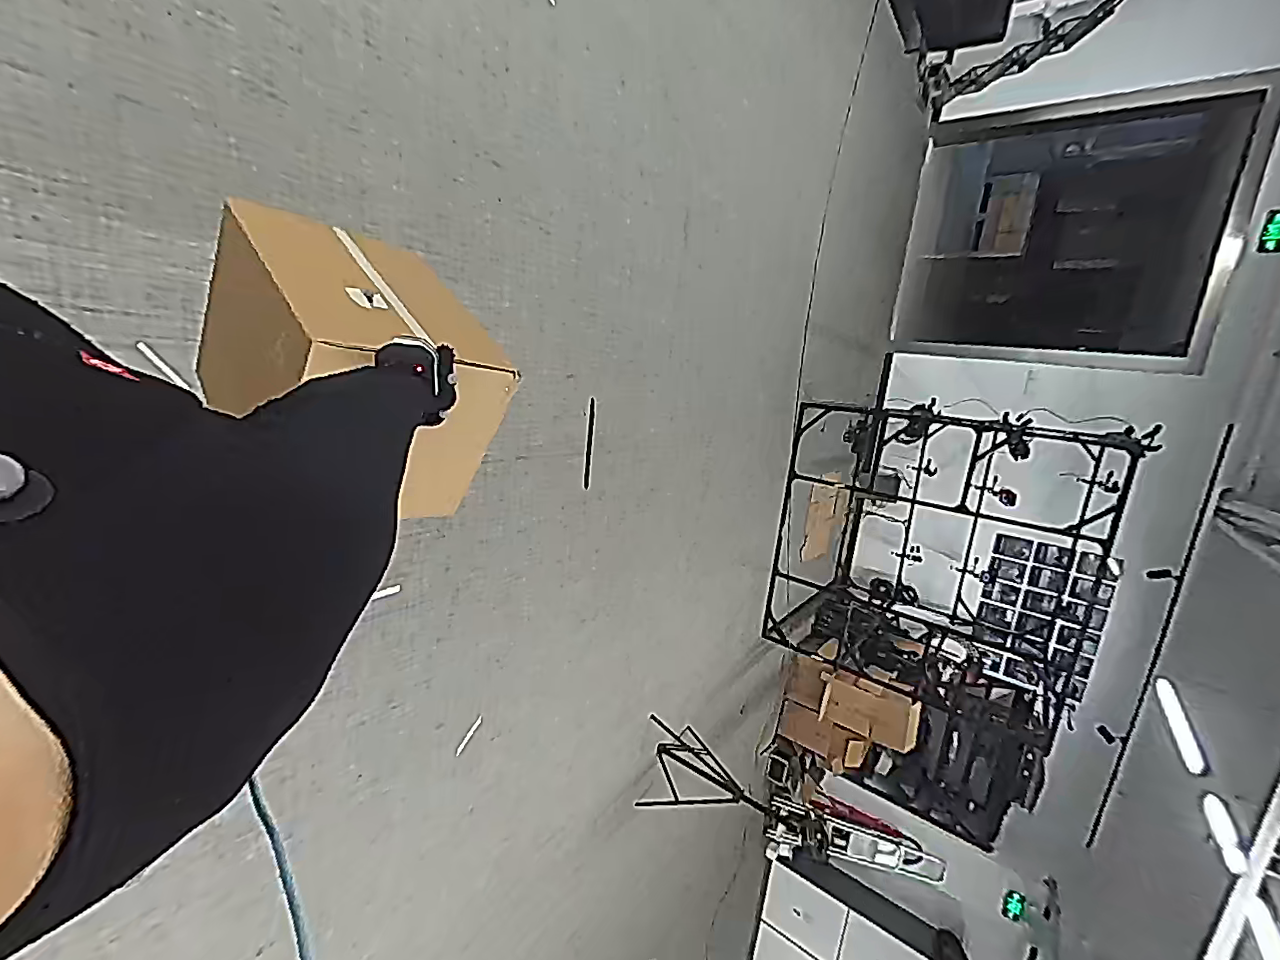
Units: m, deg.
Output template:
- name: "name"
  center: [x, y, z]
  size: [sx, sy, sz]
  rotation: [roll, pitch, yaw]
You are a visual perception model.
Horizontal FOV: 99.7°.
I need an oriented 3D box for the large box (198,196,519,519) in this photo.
- name: "large box"
  center: [-0.485, -0.189, 0.913]
  size: [0.320, 0.408, 0.320]
  rotation: [-3, 136, -51]
